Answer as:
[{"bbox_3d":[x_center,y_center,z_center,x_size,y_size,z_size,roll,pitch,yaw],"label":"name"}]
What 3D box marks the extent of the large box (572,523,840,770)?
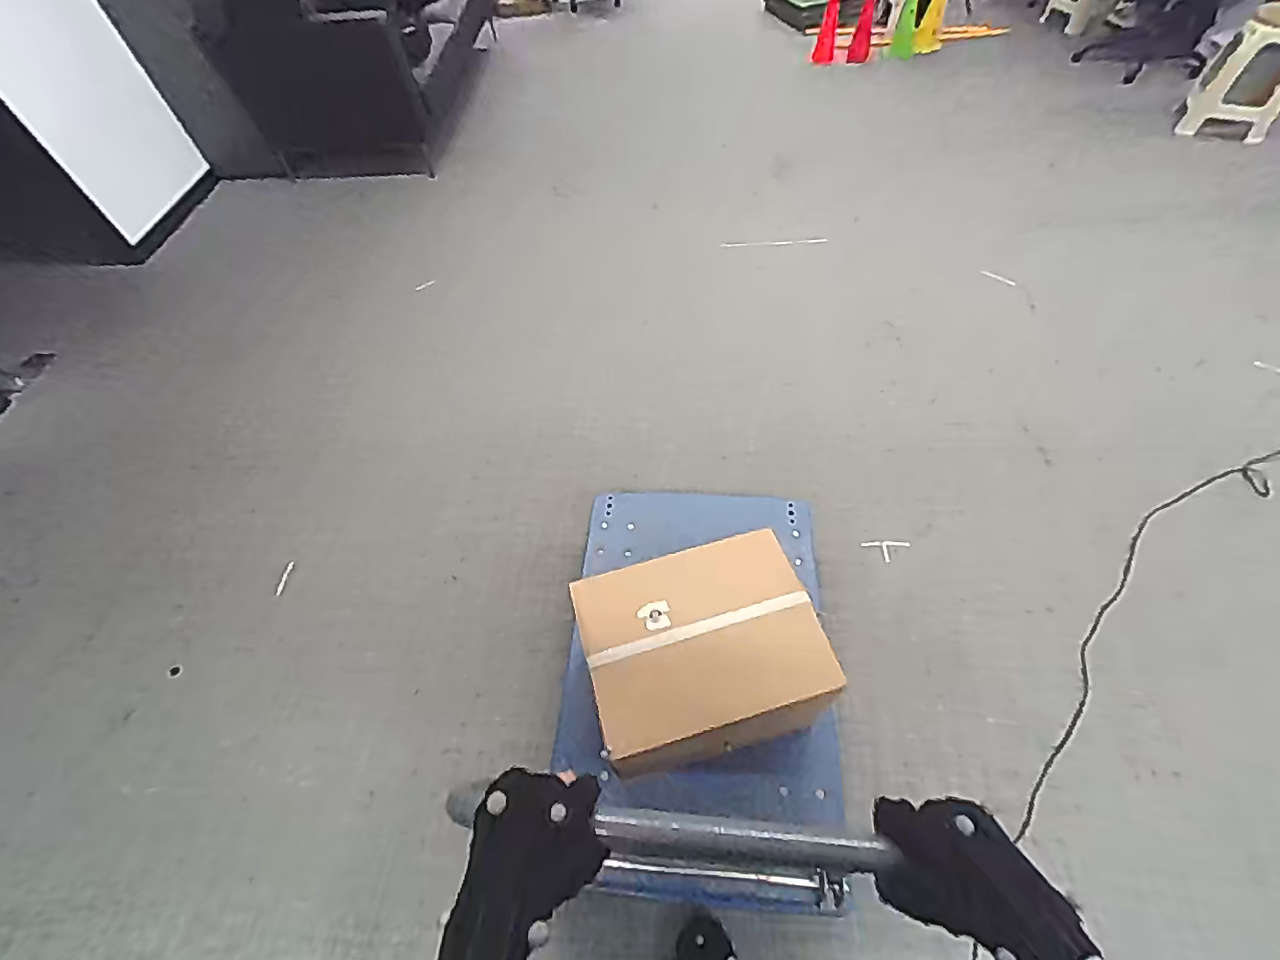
[{"bbox_3d":[0.112,0.336,1.070,0.408,0.320,0.320,-15,55,-5],"label":"large box"}]
